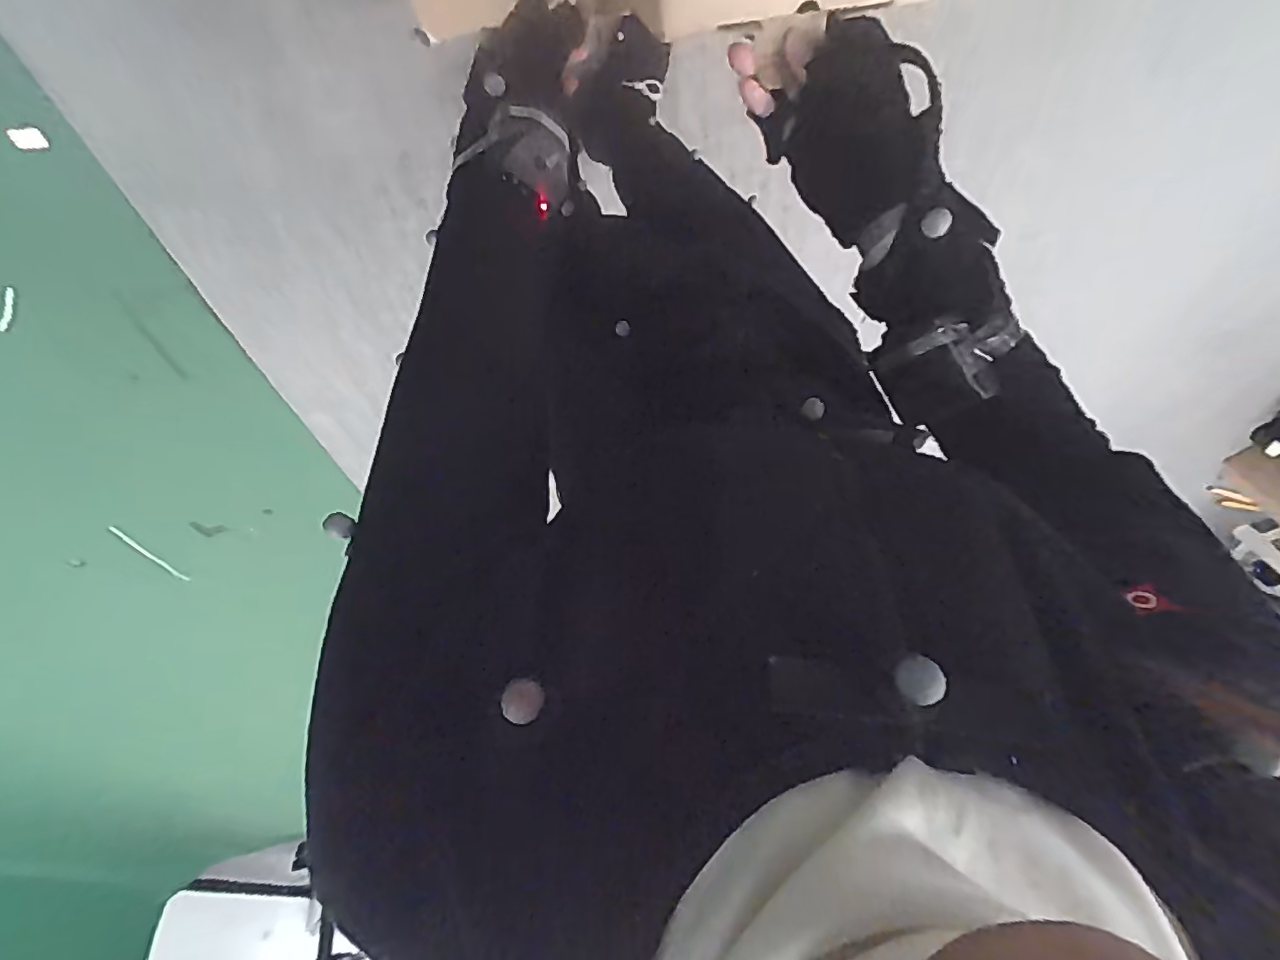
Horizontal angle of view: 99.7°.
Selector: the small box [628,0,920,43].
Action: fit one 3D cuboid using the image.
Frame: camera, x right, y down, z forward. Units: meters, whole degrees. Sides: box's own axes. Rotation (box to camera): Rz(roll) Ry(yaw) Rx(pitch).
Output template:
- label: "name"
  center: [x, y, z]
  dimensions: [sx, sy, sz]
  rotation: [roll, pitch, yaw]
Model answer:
- label: "small box"
  center: [0.061, -0.368, 0.277]
  dimensions: [0.168, 0.176, 0.179]
  rotation: [-14, 145, -6]
